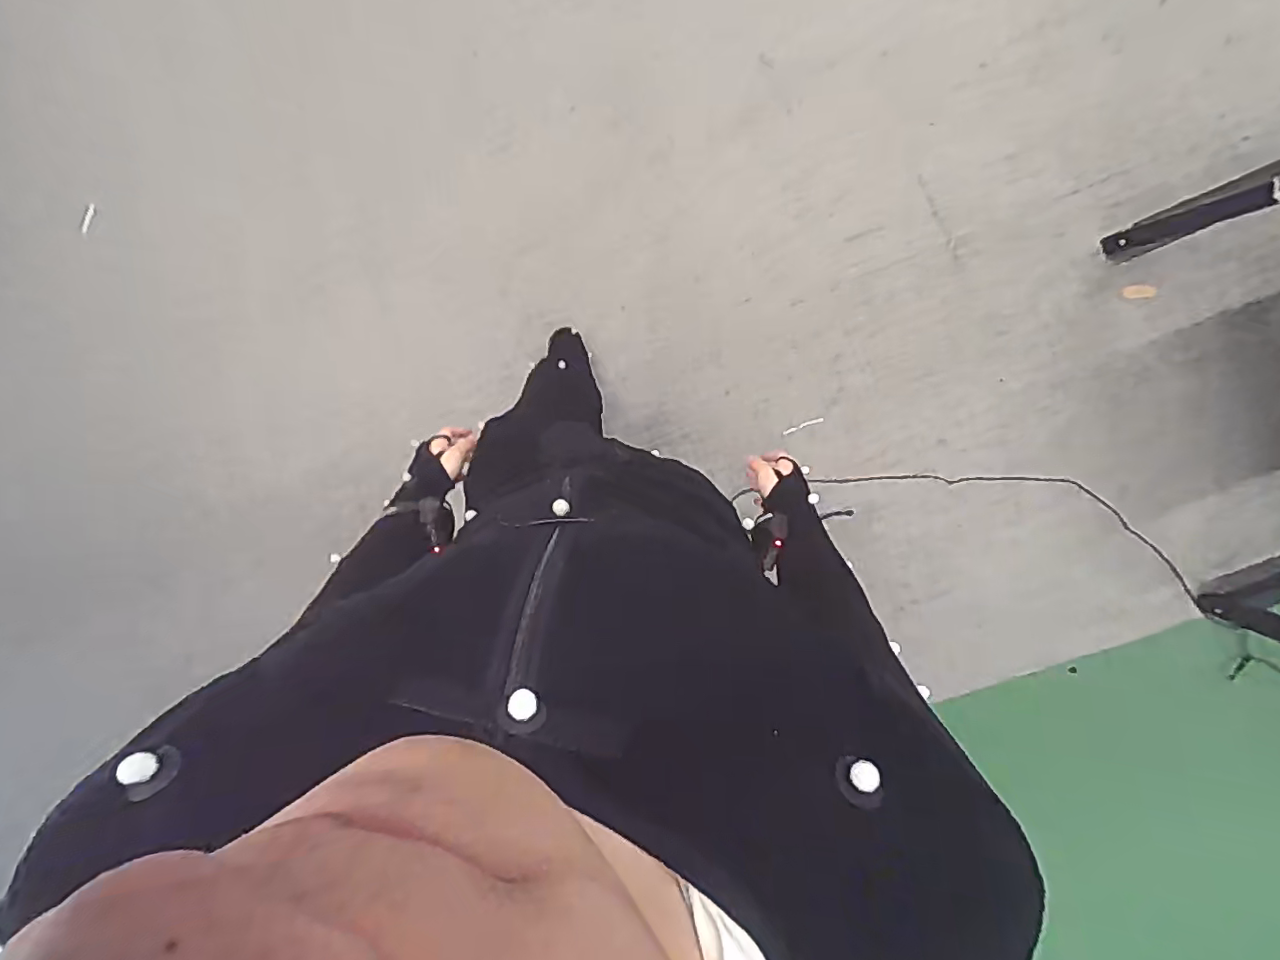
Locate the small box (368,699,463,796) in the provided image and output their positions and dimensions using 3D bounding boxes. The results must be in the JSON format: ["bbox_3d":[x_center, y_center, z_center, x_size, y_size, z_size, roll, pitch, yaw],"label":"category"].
[{"bbox_3d":[-0.617,0.744,1.521,0.179,0.176,0.168,-15,98,5],"label":"small box"}]
